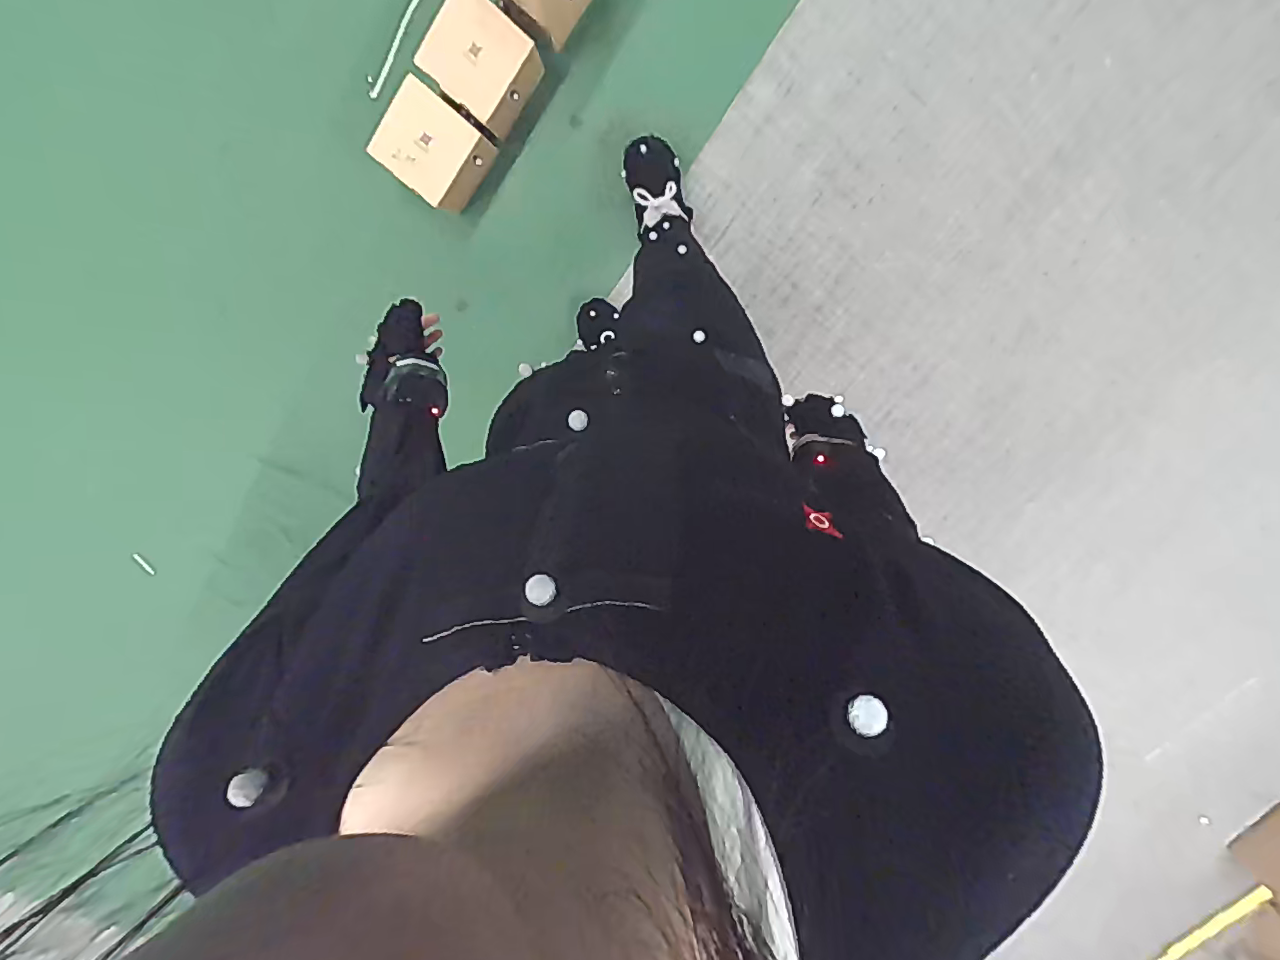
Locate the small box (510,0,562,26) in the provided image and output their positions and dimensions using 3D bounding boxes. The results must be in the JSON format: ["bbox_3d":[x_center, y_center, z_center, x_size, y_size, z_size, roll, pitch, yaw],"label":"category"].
[{"bbox_3d":[-0.189,-0.928,0.902,0.168,0.176,0.179,34,106,-14],"label":"small box"}]
